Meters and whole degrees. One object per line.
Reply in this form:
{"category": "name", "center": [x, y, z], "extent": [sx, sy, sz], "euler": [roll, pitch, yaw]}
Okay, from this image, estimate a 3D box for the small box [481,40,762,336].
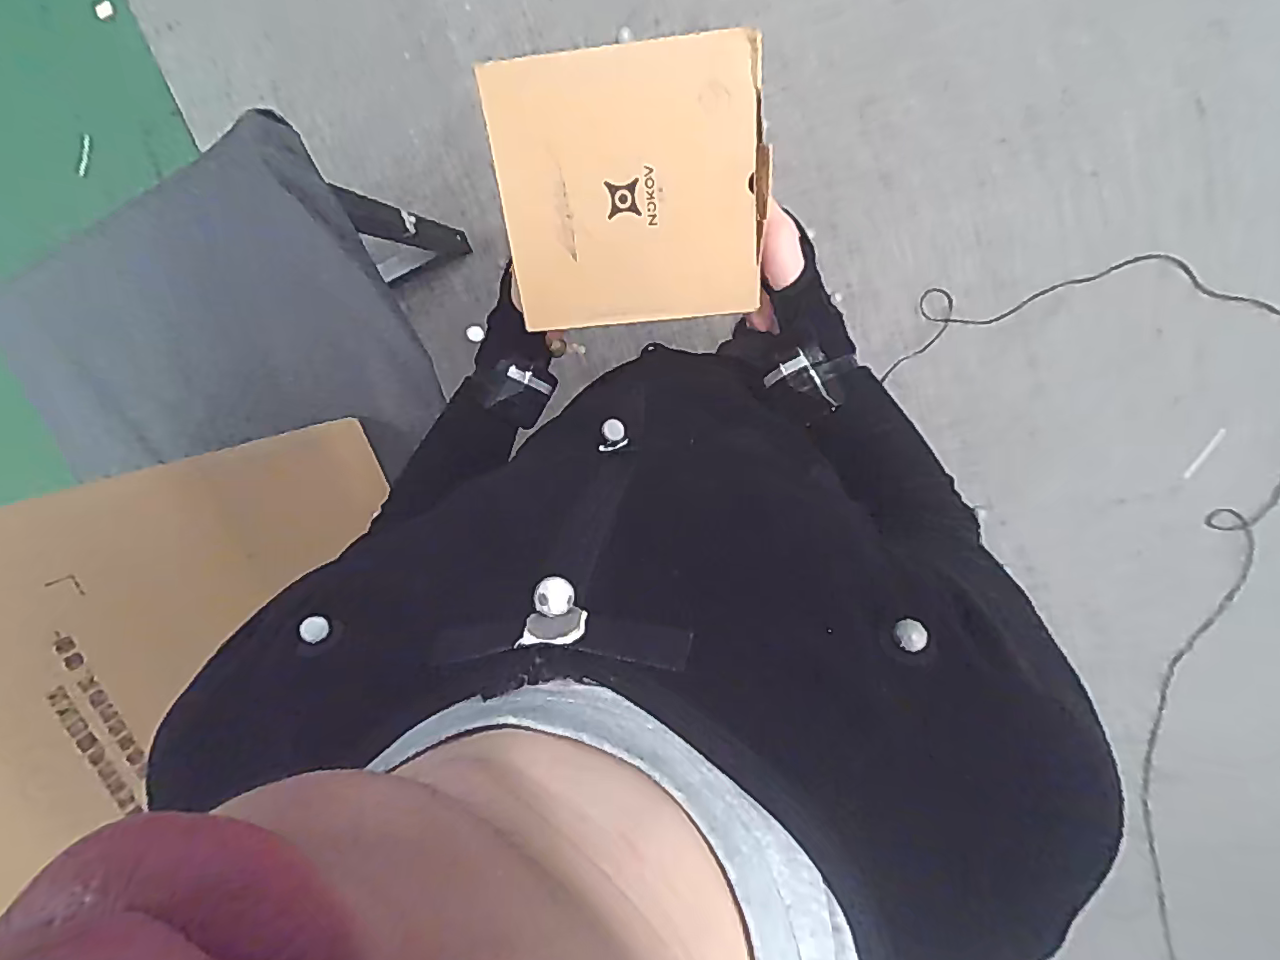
{"category": "small box", "center": [-0.002, -0.224, 0.435], "extent": [0.179, 0.176, 0.168], "euler": [-3, 117, 7]}
